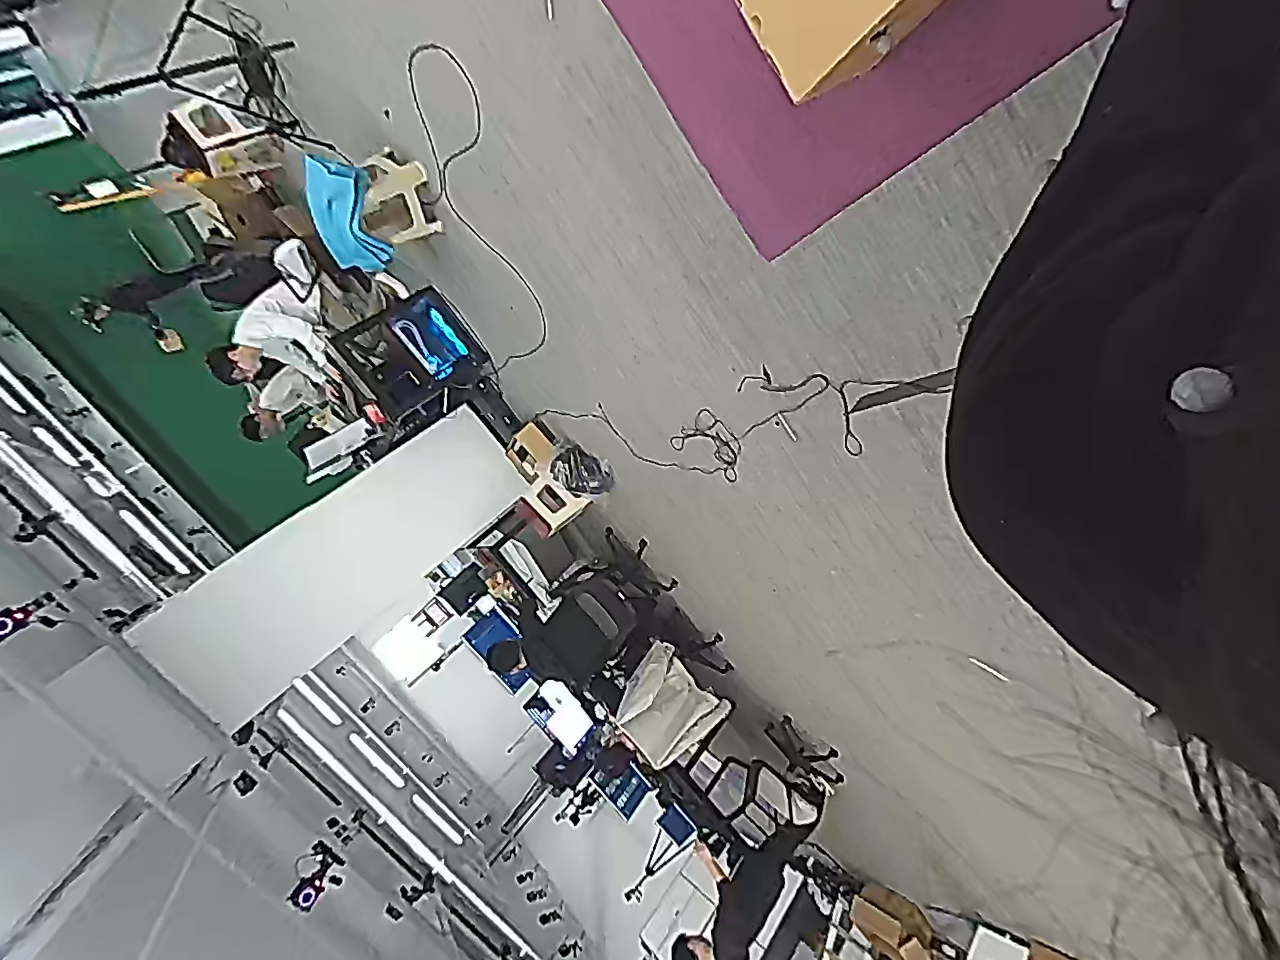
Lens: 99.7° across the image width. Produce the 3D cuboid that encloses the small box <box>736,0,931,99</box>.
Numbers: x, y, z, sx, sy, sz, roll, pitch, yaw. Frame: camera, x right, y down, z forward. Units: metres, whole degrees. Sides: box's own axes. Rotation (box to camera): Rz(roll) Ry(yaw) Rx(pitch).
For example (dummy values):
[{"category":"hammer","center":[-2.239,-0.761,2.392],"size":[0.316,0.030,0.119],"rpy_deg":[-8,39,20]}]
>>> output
[{"category":"small box","center":[0.203,-0.511,0.497],"size":[0.168,0.176,0.179],"rpy_deg":[54,153,-12]}]
